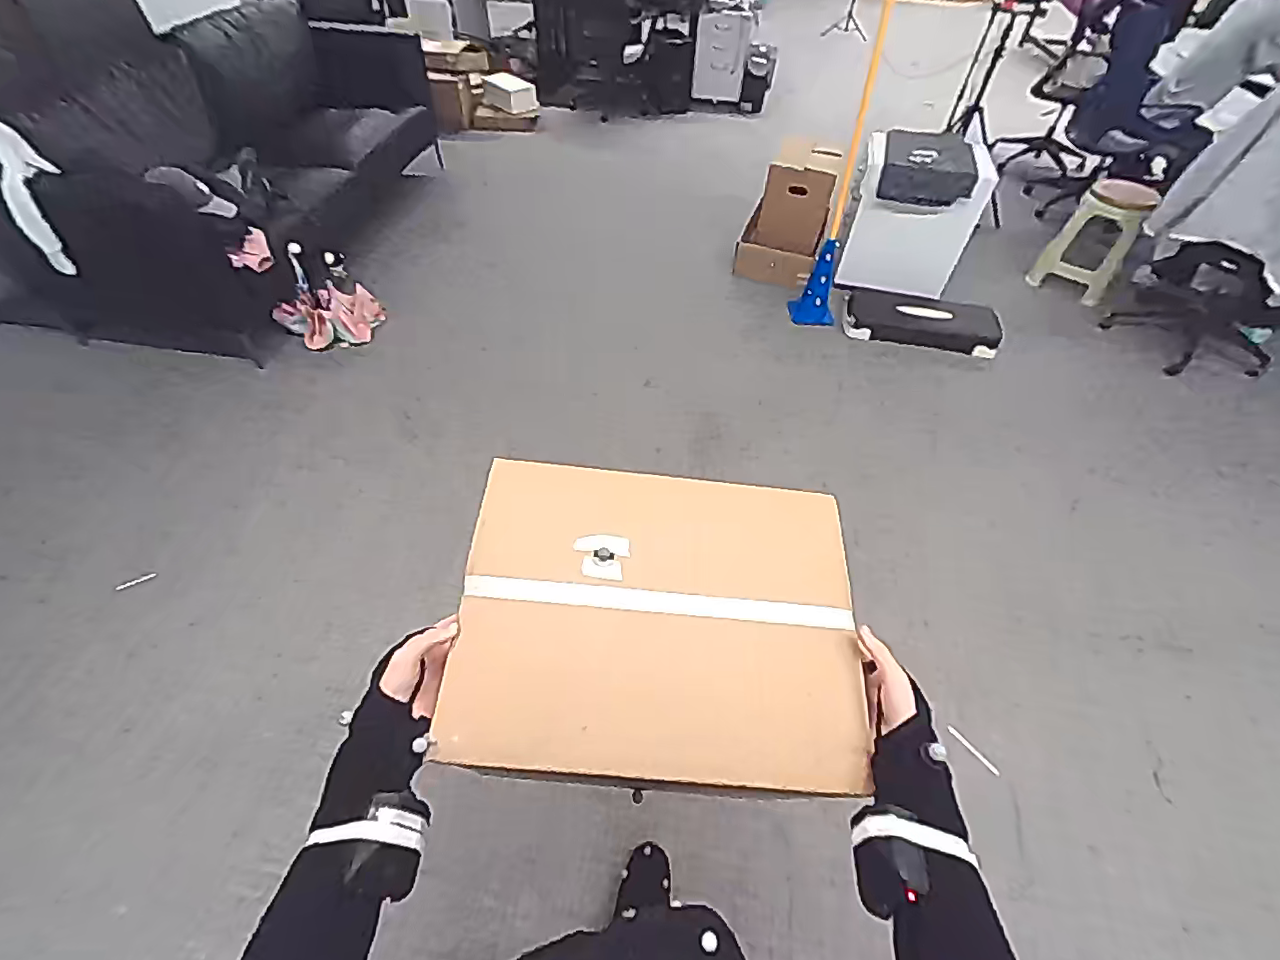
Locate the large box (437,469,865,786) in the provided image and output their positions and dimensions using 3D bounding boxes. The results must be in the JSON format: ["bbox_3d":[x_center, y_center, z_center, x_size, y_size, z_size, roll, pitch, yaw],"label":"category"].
[{"bbox_3d":[0.011,0.207,0.697,0.408,0.320,0.320,6,59,-2],"label":"large box"}]
